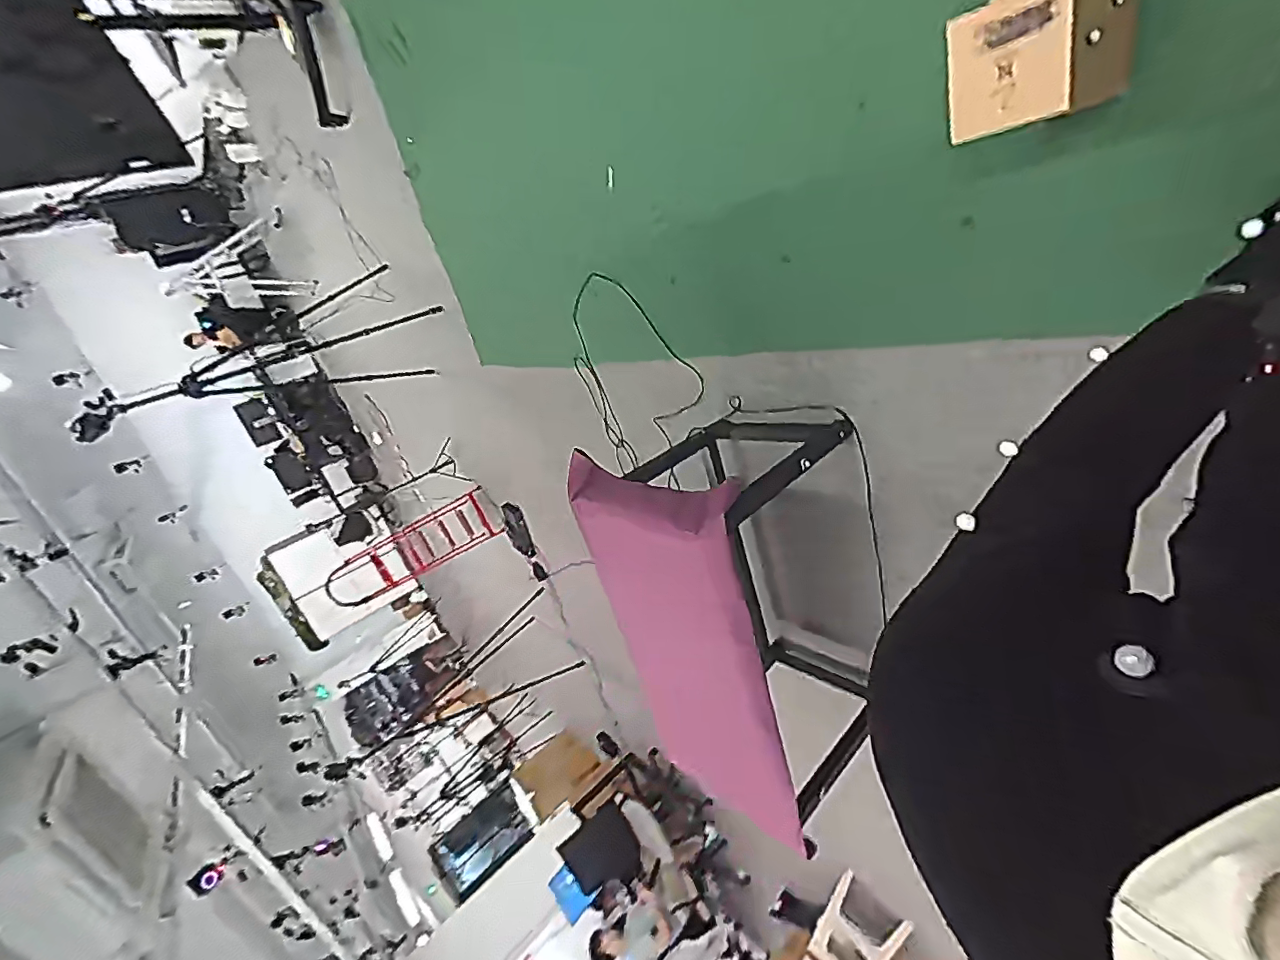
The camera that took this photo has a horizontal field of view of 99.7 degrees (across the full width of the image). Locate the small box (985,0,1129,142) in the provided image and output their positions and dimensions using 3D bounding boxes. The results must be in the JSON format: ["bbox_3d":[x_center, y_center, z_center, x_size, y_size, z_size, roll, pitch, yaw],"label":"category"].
[{"bbox_3d":[0.739,-0.733,0.961,0.168,0.176,0.179,12,125,49],"label":"small box"}]
